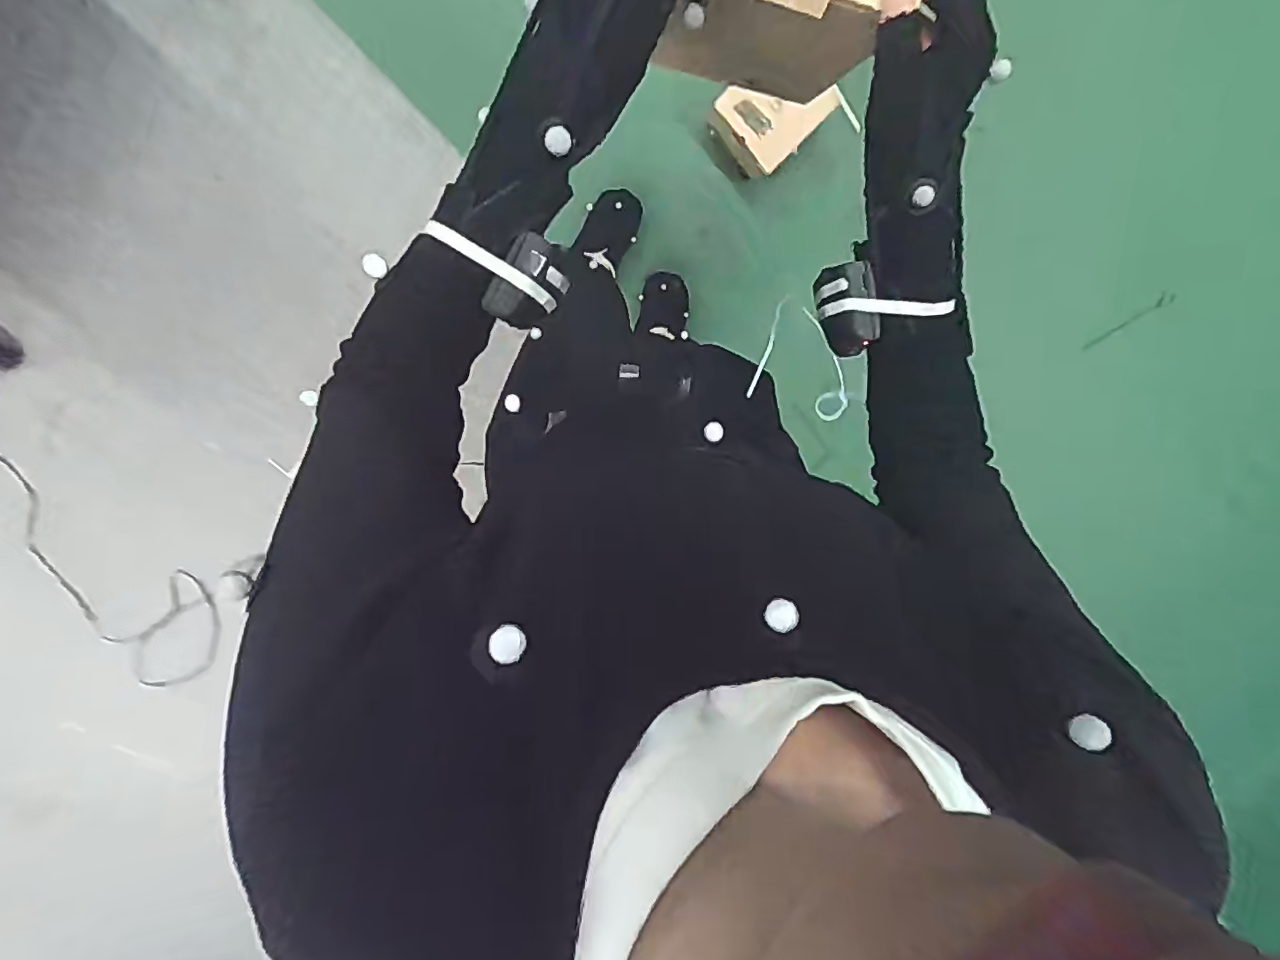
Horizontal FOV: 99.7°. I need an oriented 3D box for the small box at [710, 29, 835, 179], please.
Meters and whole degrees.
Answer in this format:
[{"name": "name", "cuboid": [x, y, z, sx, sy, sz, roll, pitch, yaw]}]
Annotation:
[{"name": "small box", "cuboid": [0.256, -0.743, 1.097, 0.179, 0.176, 0.168, -41, 109, 17]}]
